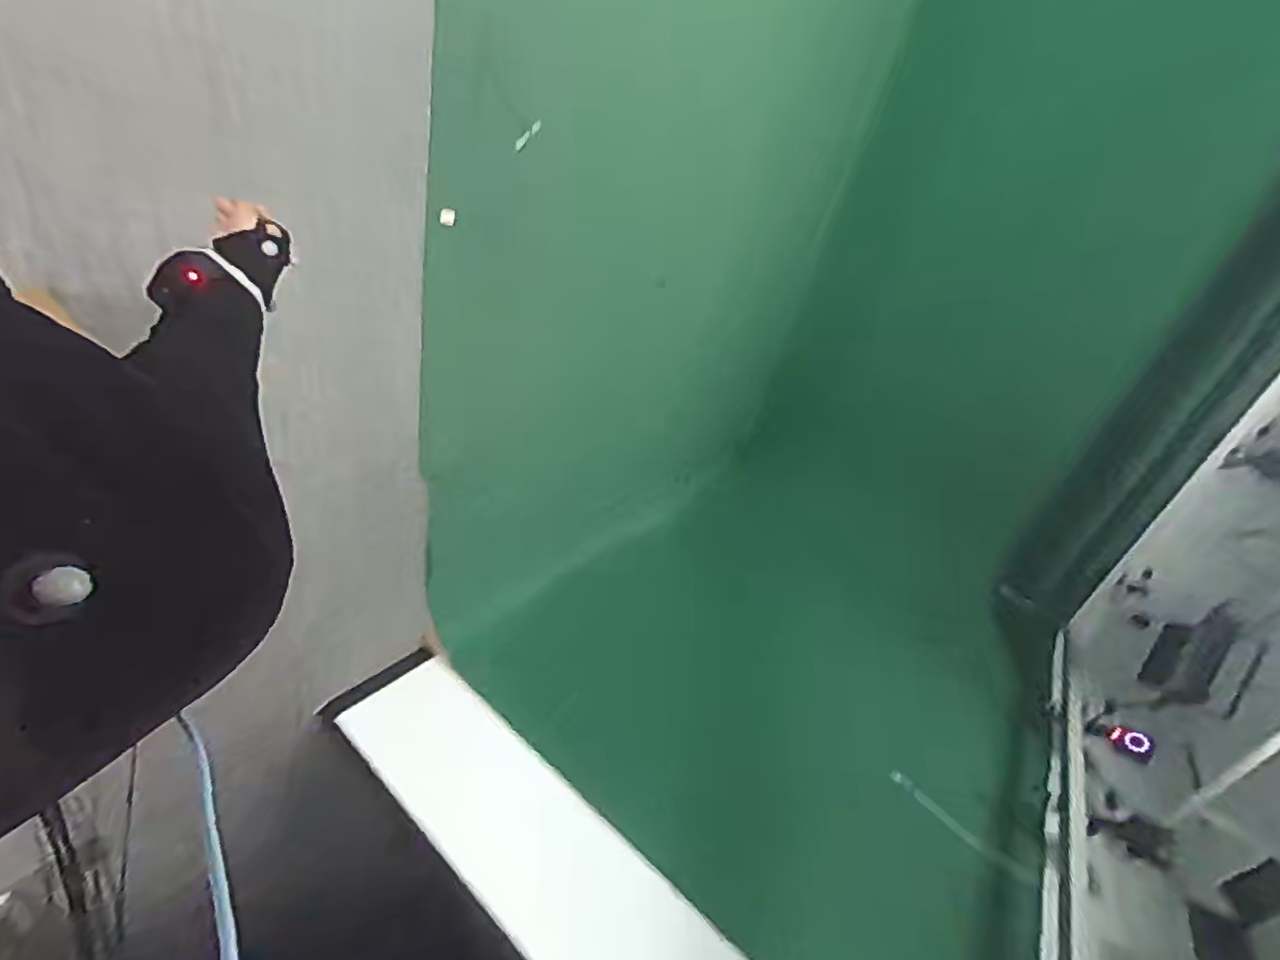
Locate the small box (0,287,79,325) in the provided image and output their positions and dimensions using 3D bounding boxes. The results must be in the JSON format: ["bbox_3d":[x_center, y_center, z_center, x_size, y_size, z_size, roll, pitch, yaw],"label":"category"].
[{"bbox_3d":[-1.145,-0.241,0.987,0.179,0.176,0.168,-32,143,-46],"label":"small box"}]

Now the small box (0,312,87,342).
[{"bbox_3d":[-1.020,-0.170,0.908,0.179,0.176,0.168,-31,142,-45],"label":"small box"}]
